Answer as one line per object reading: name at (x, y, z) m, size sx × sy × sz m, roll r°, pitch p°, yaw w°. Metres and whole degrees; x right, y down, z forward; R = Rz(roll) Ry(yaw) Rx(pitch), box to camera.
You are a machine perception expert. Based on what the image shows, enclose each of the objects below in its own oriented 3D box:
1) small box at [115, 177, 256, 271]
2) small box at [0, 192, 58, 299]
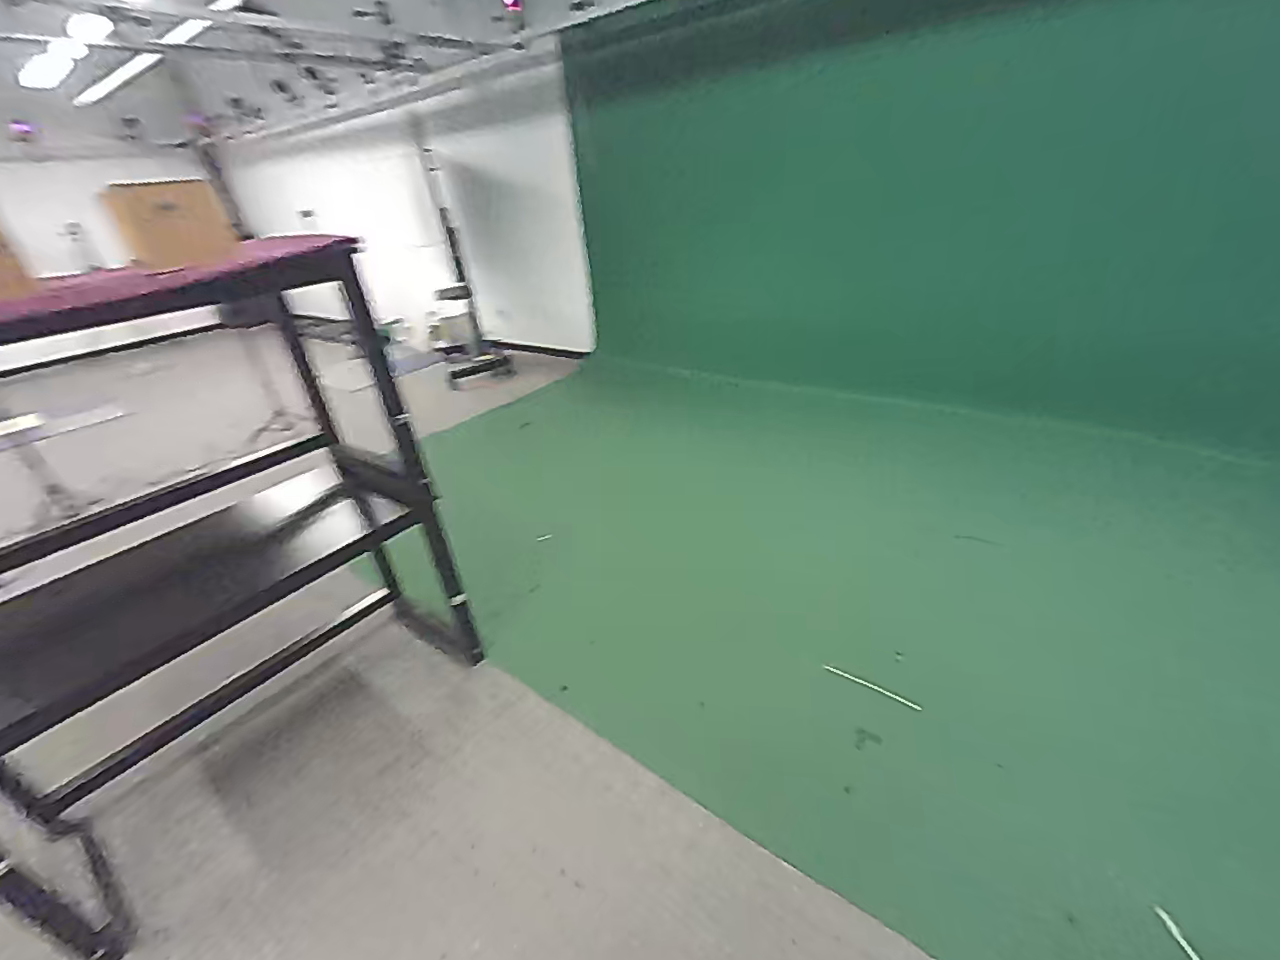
small box at (-1.014, -0.568, 1.214) m, size 0.168 × 0.176 × 0.179 m, roll 16°, pitch 35°, yaw 37°
small box at (-1.206, -0.411, 0.968) m, size 0.168 × 0.176 × 0.179 m, roll 15°, pitch 36°, yaw 34°
